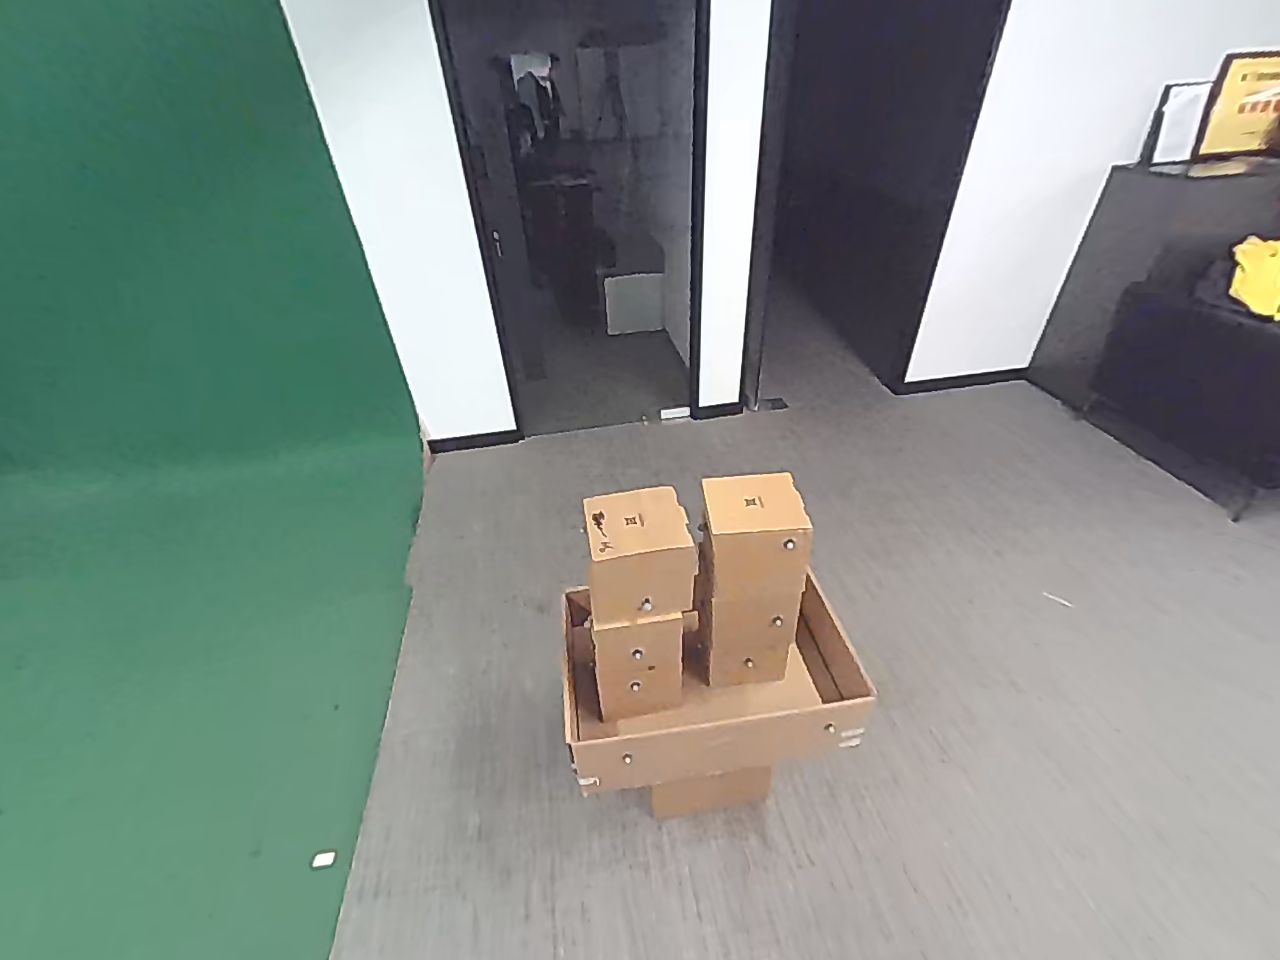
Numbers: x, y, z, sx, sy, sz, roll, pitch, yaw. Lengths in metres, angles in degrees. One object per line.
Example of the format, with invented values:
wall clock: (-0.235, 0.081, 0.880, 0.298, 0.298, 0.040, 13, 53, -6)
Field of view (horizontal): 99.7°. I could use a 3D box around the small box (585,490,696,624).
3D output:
small box: (-0.004, 0.142, 0.998, 0.179, 0.176, 0.168, -7, 38, -7)
